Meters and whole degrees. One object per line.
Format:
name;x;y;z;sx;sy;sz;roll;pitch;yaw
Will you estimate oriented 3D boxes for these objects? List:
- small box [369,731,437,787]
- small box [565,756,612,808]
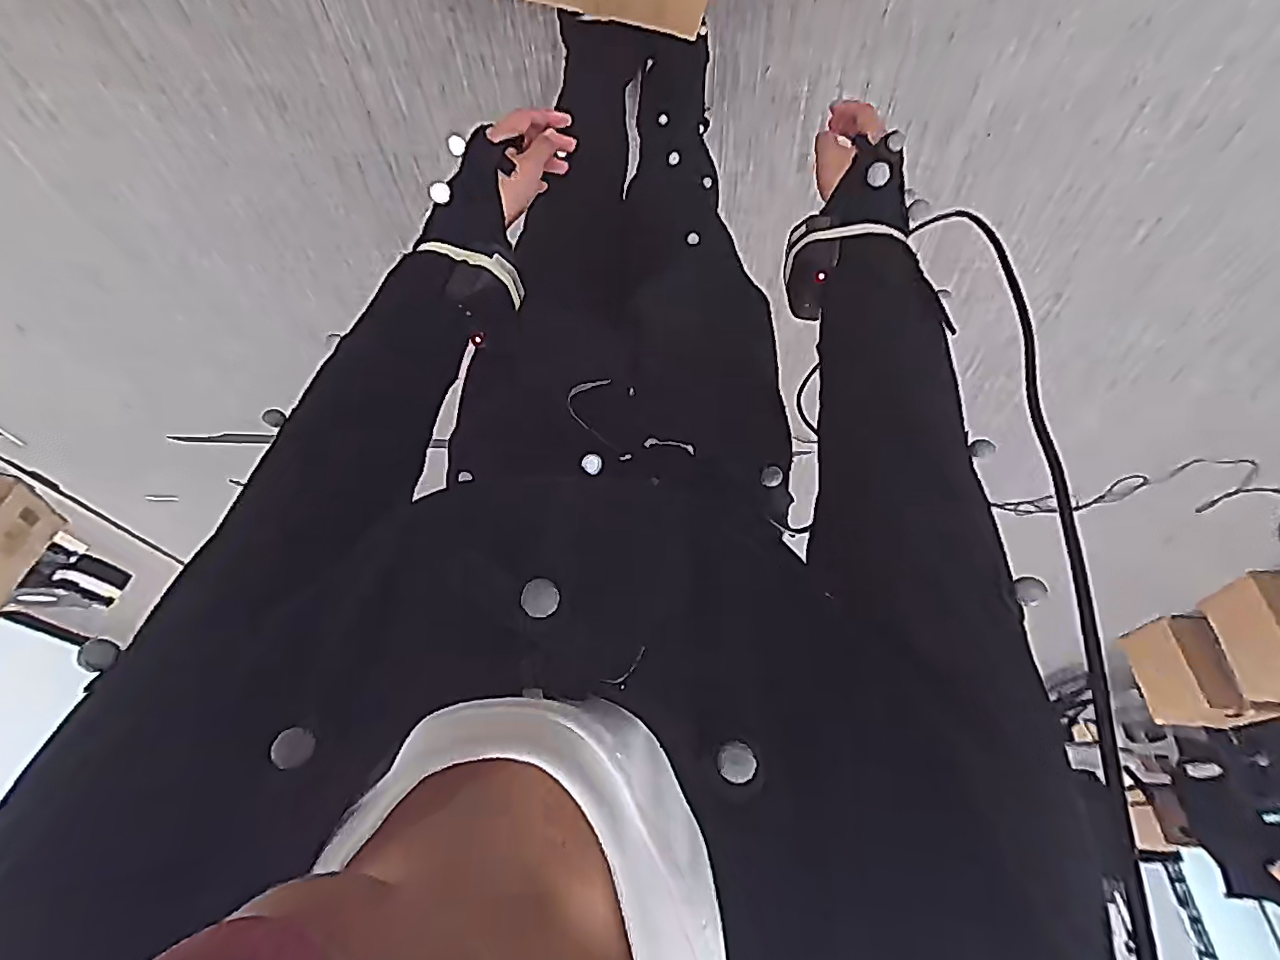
small box;-0.888;1.058;2.052;0.179;0.176;0.168;3;146;3
small box;-0.205;1.229;2.196;0.179;0.168;0.176;-3;145;-2
